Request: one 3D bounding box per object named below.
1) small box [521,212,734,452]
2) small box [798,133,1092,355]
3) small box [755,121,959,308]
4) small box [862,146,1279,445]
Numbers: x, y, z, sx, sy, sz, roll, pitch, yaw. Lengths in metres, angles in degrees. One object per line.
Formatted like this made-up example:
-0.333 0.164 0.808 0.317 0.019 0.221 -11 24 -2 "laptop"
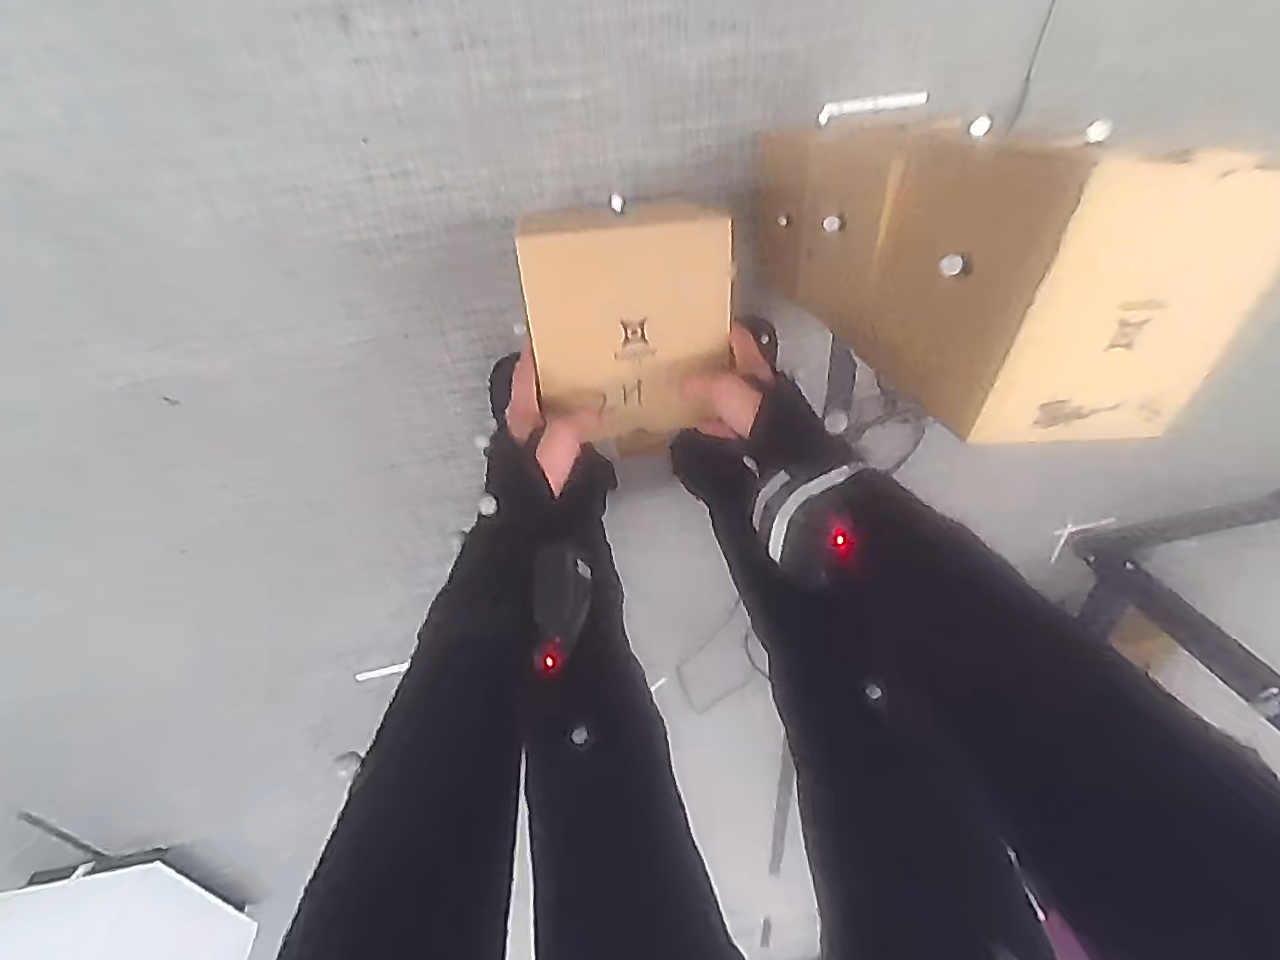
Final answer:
-0.018 -0.149 0.510 0.168 0.176 0.179 -8 123 -6 "small box"
0.272 -0.240 0.537 0.179 0.176 0.168 -8 126 -5 "small box"
0.247 -0.333 0.667 0.168 0.176 0.179 -9 126 -4 "small box"
0.296 -0.144 0.406 0.168 0.176 0.179 -2 124 -9 "small box"
